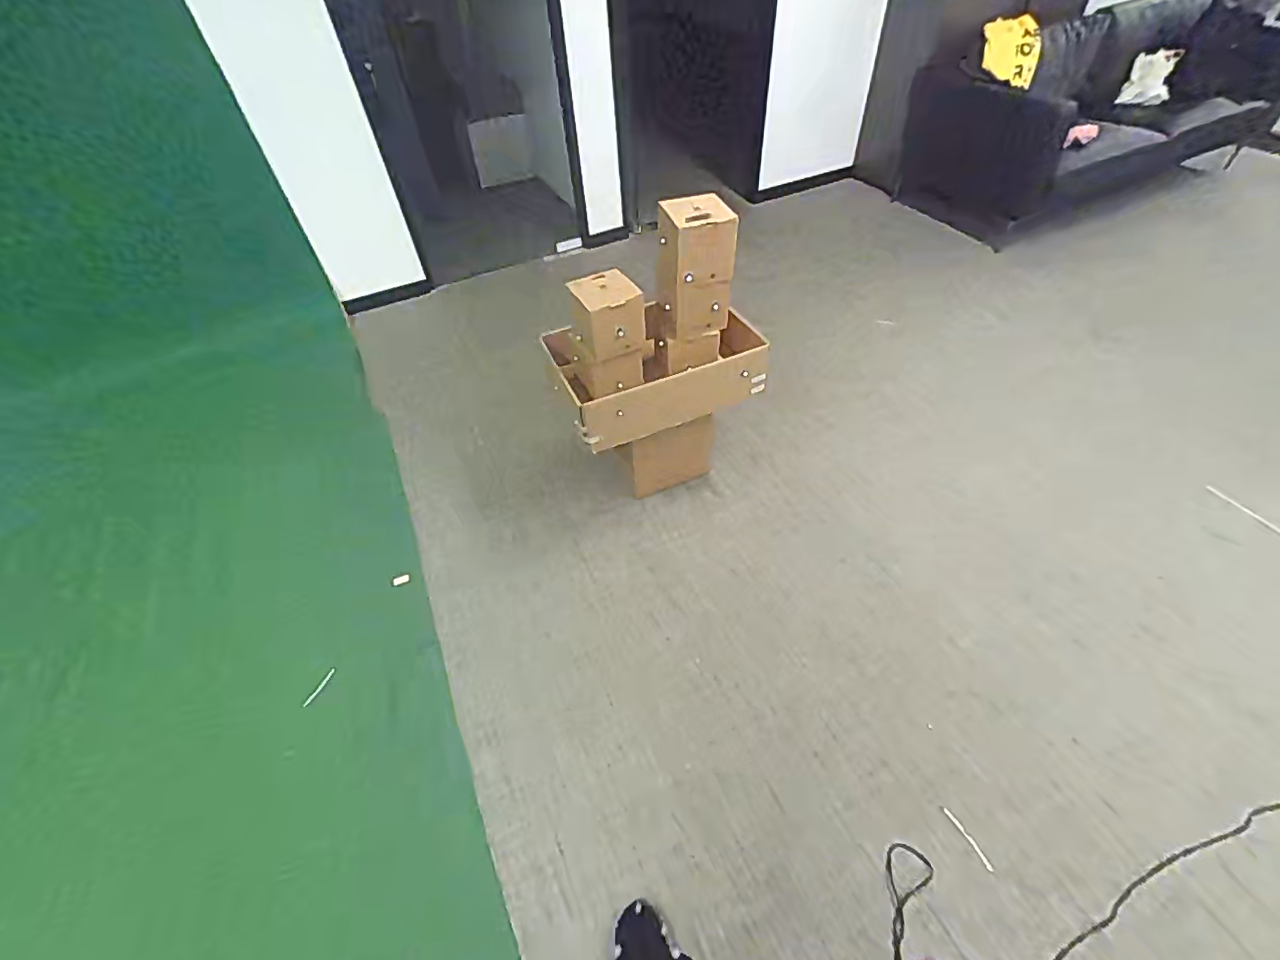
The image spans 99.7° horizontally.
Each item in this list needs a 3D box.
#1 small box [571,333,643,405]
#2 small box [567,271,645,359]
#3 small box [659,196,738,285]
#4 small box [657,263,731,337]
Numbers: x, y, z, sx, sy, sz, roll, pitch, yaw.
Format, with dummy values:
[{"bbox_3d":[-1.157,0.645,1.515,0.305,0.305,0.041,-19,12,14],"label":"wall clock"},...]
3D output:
[{"bbox_3d":[-0.101,-0.362,1.675,0.168,0.176,0.179,-23,51,-16],"label":"small box"},{"bbox_3d":[-0.094,-0.465,1.546,0.168,0.176,0.179,-22,51,-17],"label":"small box"},{"bbox_3d":[0.155,-0.648,1.480,0.168,0.176,0.179,-13,48,-9],"label":"small box"},{"bbox_3d":[0.156,-0.540,1.603,0.168,0.176,0.179,-15,49,-11],"label":"small box"}]
